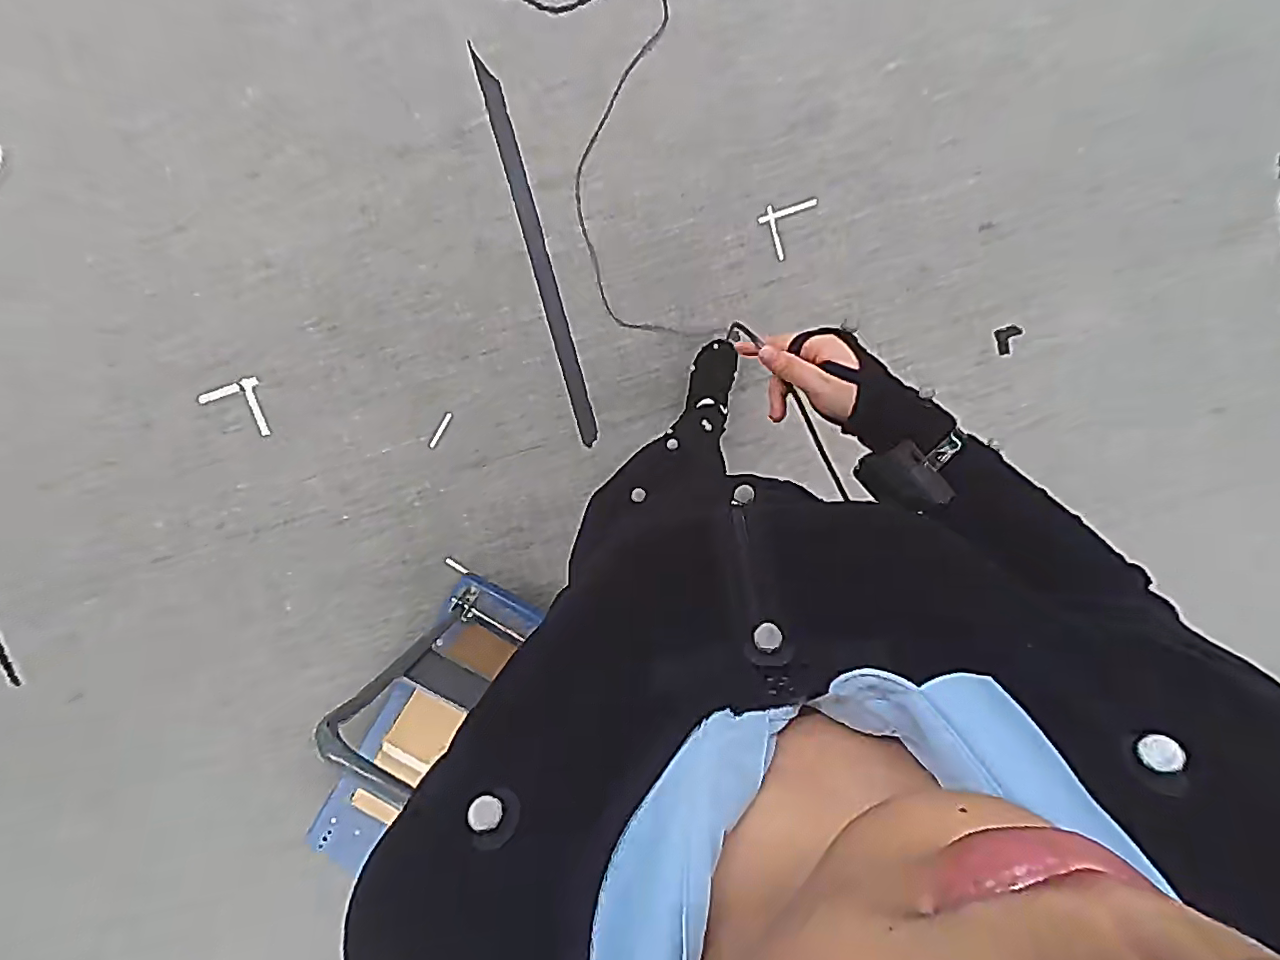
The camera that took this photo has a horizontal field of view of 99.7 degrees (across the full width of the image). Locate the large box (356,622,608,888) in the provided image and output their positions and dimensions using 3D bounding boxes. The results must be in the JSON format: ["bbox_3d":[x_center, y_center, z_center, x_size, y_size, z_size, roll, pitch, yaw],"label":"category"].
[{"bbox_3d":[-0.328,0.598,1.236,0.408,0.320,0.320,31,96,-2],"label":"large box"}]
